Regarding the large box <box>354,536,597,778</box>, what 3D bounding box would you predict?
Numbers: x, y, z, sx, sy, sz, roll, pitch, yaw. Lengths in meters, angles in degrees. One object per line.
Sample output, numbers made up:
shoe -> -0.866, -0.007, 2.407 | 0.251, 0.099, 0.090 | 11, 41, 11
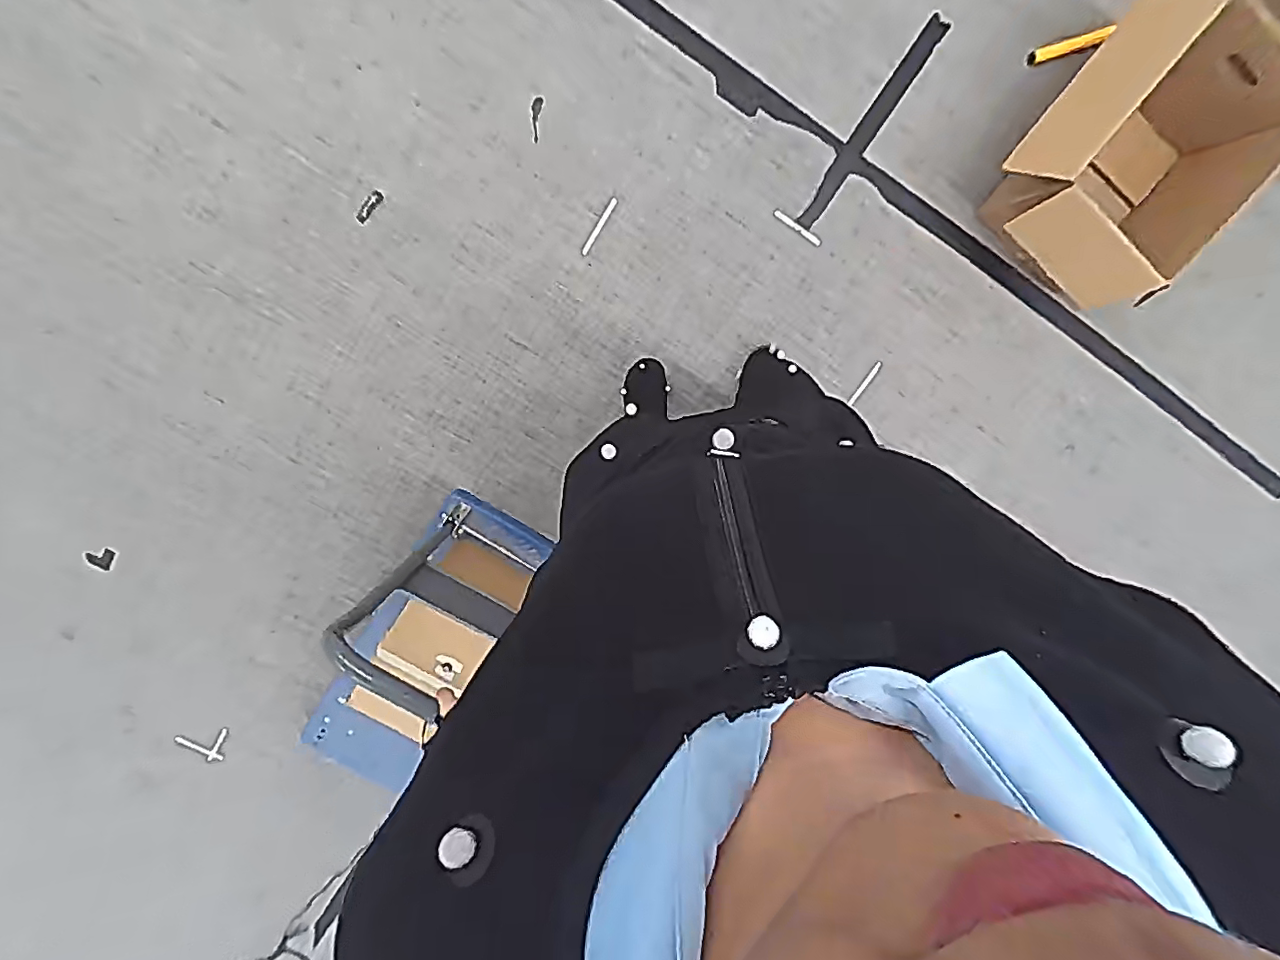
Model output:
large box -> -0.356, 0.399, 1.281 | 0.408, 0.320, 0.320 | 33, 101, -8
